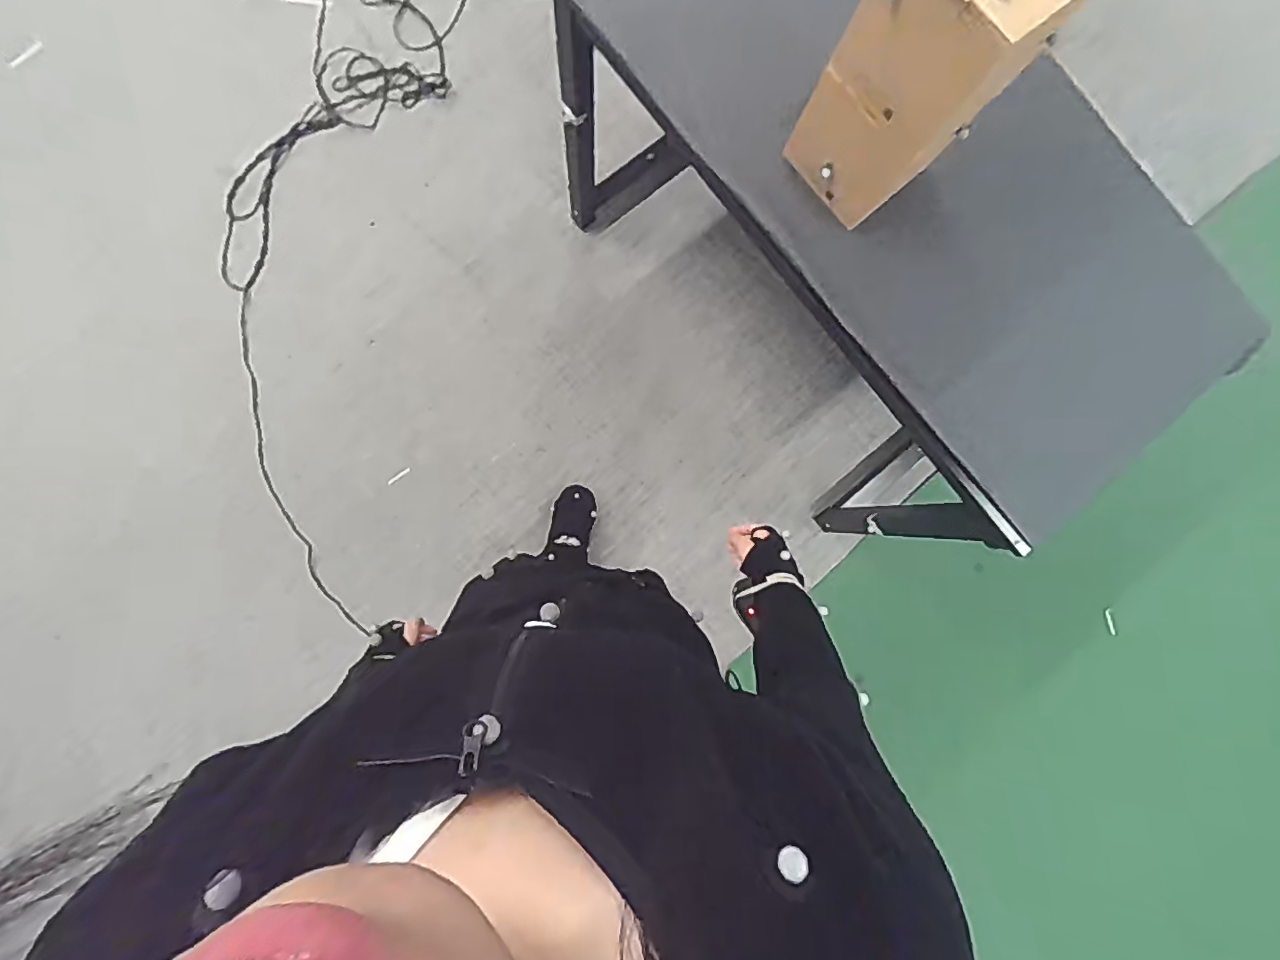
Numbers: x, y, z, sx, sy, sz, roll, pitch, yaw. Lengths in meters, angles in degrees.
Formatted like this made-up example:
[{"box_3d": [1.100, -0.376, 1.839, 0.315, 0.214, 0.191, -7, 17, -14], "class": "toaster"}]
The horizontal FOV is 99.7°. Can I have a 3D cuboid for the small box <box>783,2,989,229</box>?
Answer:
[{"box_3d": [0.341, -0.514, 0.786, 0.179, 0.176, 0.168, -41, 90, -7], "class": "small box"}]
